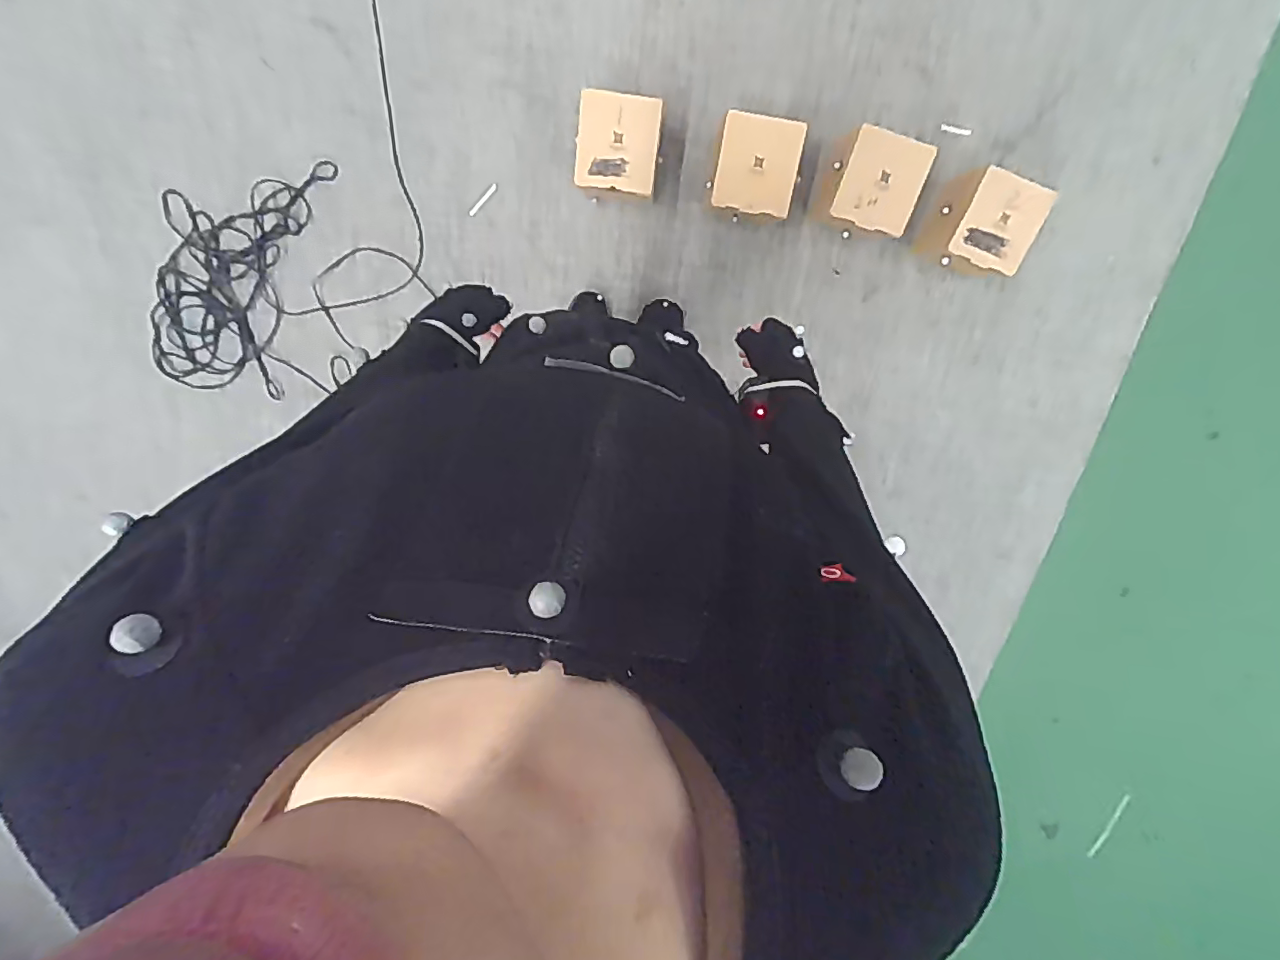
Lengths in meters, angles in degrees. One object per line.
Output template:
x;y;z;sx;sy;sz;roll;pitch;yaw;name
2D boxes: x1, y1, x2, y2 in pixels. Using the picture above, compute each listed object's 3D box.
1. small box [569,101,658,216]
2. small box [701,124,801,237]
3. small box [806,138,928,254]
-0.054;-0.689;1.181;0.168;0.176;0.179;8;108;-2;small box
0.233;-0.649;1.192;0.168;0.176;0.179;9;110;-2;small box
0.488;-0.617;1.197;0.168;0.176;0.179;17;109;-4;small box
